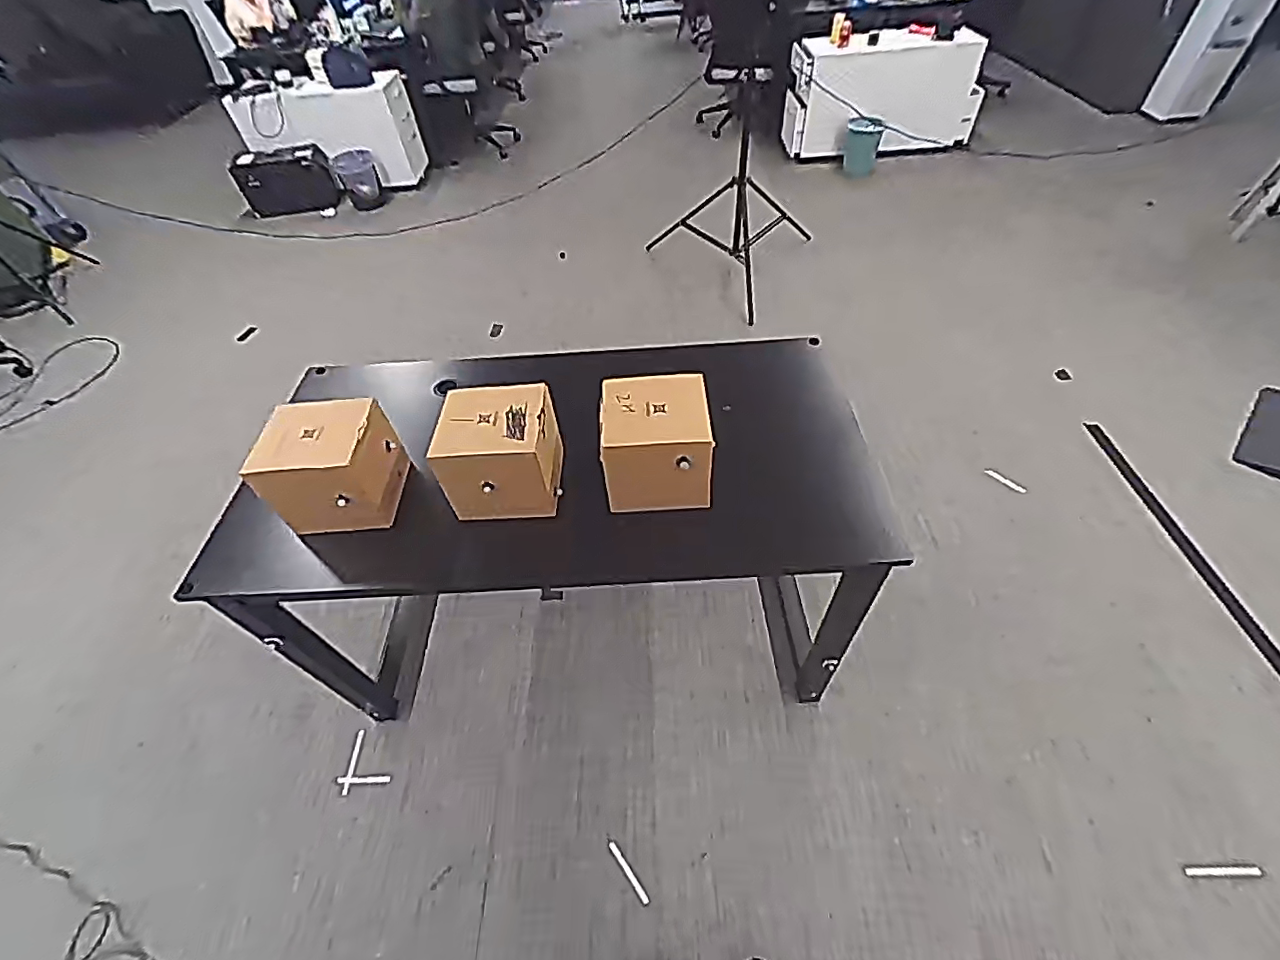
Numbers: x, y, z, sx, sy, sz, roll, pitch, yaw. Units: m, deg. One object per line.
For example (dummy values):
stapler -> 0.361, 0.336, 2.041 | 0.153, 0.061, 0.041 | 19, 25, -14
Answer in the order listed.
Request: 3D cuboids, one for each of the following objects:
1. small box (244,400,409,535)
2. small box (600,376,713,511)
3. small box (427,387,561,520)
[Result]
small box -> -0.535, -0.018, 0.958 | 0.179, 0.176, 0.168 | -6, 49, 1
small box -> 0.029, -0.060, 0.942 | 0.179, 0.176, 0.168 | -4, 49, 2
small box -> -0.241, -0.044, 0.952 | 0.179, 0.176, 0.168 | -3, 49, 3
